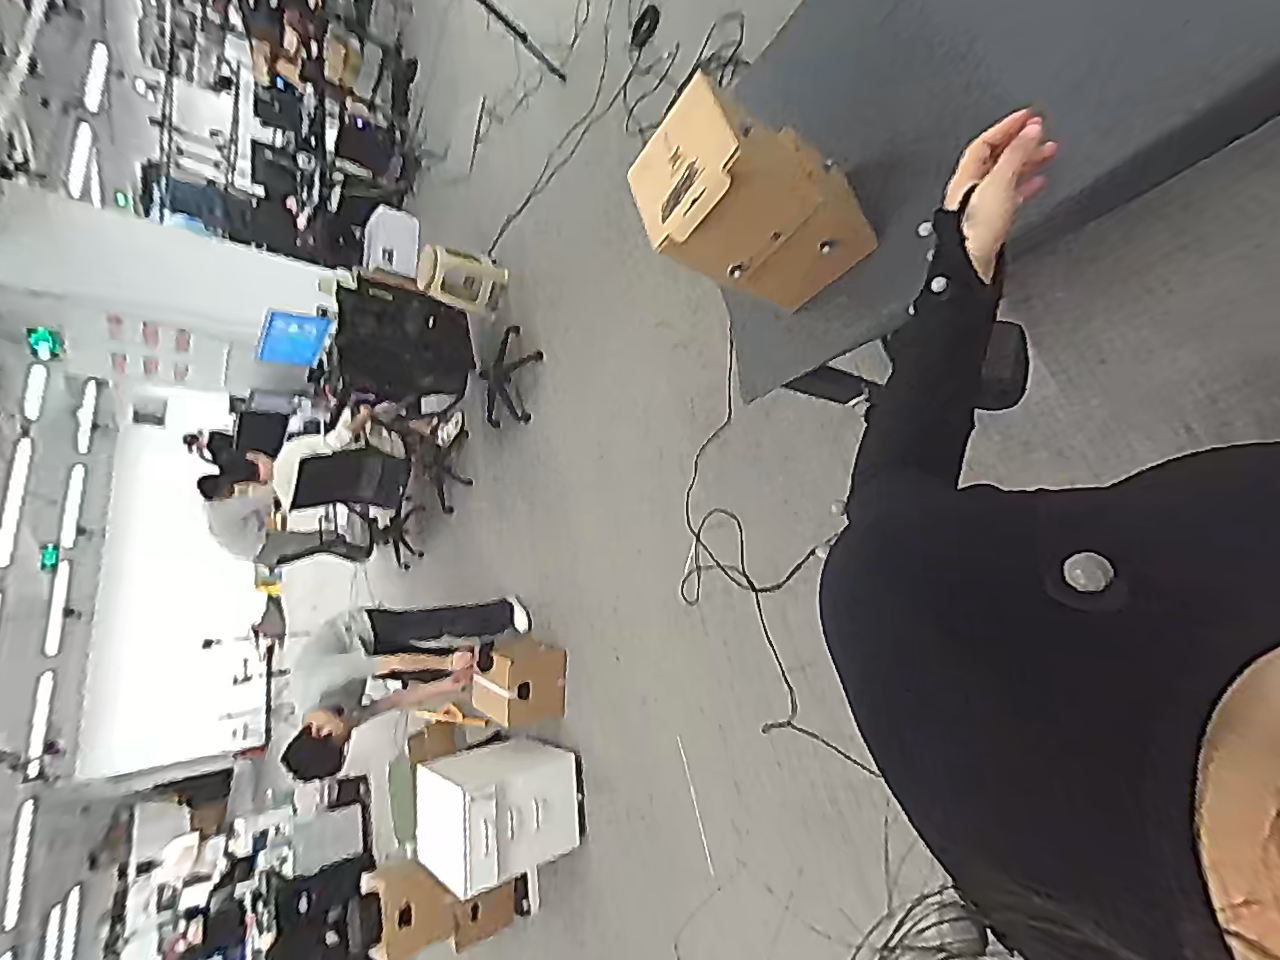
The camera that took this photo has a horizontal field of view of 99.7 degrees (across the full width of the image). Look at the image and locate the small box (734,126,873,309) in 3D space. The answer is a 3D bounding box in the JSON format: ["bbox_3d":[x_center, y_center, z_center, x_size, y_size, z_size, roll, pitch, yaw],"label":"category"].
[{"bbox_3d":[0.251,-0.412,0.880,0.179,0.176,0.168,-35,58,43],"label":"small box"}]

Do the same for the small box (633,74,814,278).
[{"bbox_3d":[0.119,-0.420,0.781,0.168,0.176,0.179,-39,55,40],"label":"small box"}]
